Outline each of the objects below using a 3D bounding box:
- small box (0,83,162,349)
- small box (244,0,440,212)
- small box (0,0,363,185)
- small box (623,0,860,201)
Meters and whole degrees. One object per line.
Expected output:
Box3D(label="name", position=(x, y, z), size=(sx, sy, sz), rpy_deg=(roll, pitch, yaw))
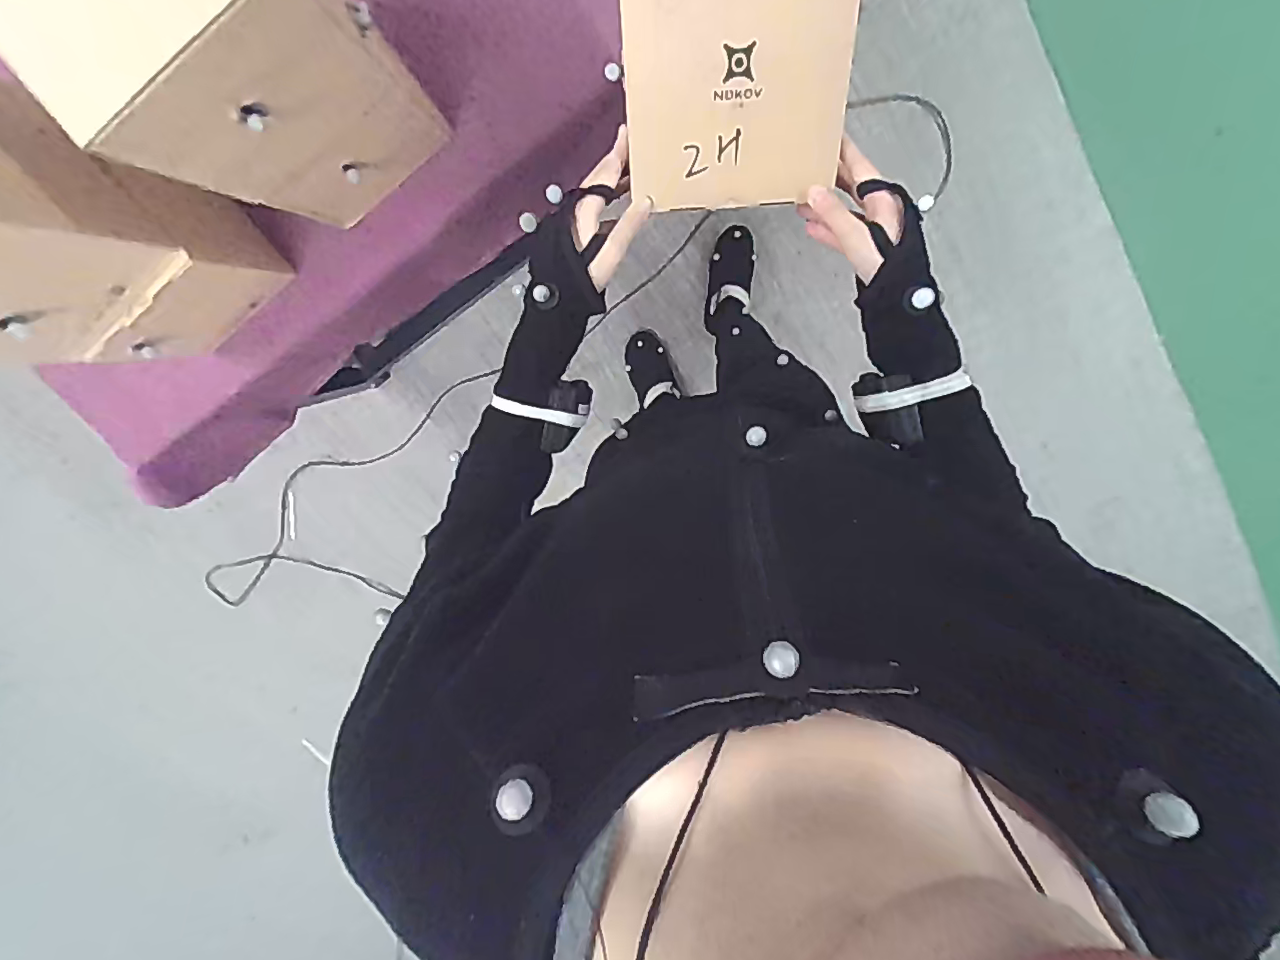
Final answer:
Box3D(label="small box", position=(-0.553, -0.216, 0.427), size=(0.168, 0.176, 0.179), rpy_deg=(-38, 102, 10))
Box3D(label="small box", position=(-0.337, -0.401, 0.541), size=(0.179, 0.176, 0.168), rpy_deg=(-34, 104, 10))
Box3D(label="small box", position=(-0.334, -0.350, 0.385), size=(0.179, 0.176, 0.168), rpy_deg=(-33, 104, 10))
Box3D(label="small box", position=(0.069, -0.343, 0.453), size=(0.168, 0.176, 0.179), rpy_deg=(-1, 125, 2))
